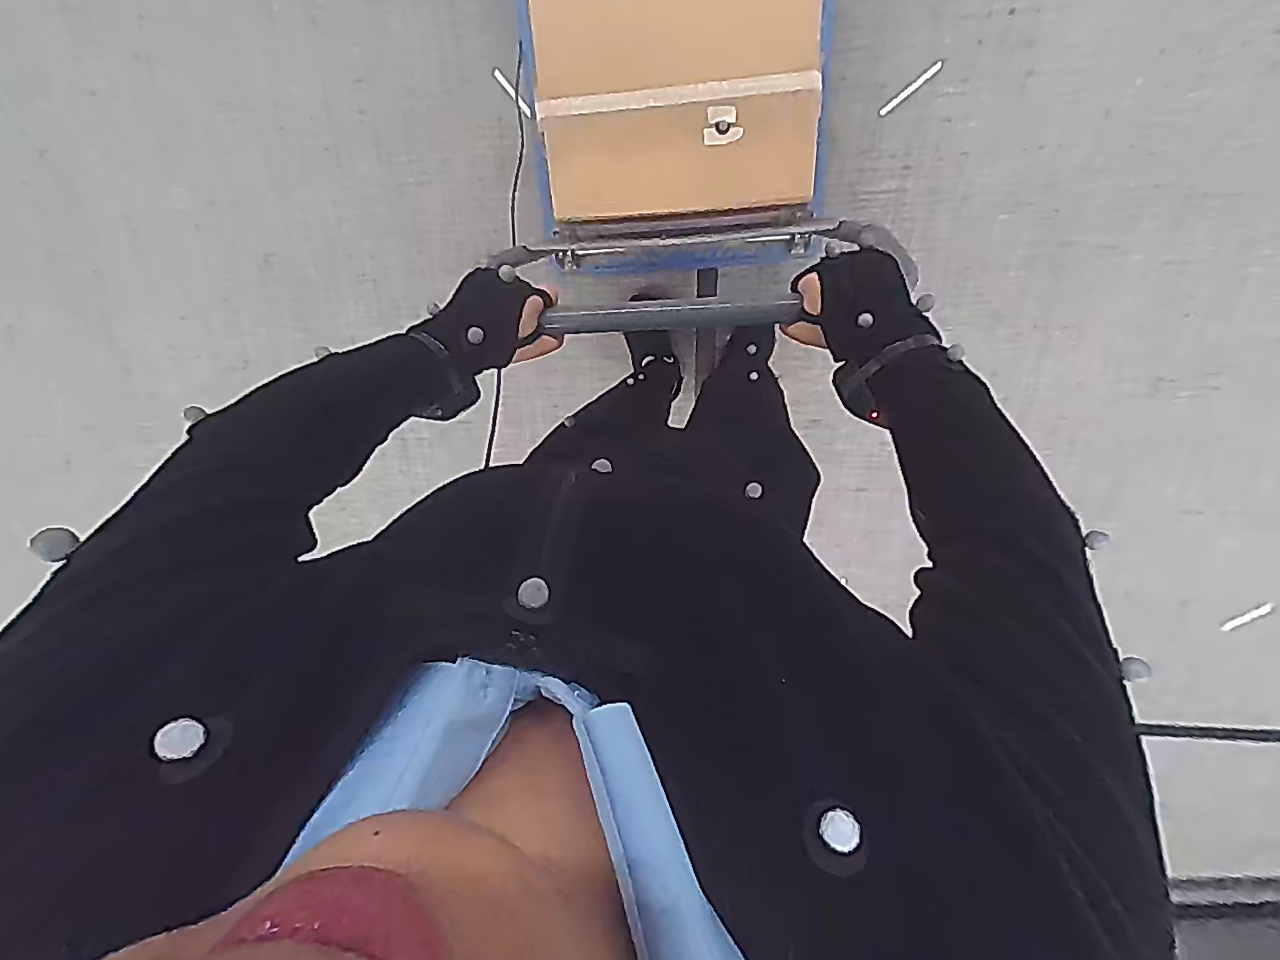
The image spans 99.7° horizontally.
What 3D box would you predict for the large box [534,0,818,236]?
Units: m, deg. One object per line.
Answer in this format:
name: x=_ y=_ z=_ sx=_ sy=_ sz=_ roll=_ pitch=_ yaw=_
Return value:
large box: x=0.067 y=-0.616 z=0.939 sx=0.408 sy=0.320 sz=0.320 roll=-2 pitch=113 yaw=6
